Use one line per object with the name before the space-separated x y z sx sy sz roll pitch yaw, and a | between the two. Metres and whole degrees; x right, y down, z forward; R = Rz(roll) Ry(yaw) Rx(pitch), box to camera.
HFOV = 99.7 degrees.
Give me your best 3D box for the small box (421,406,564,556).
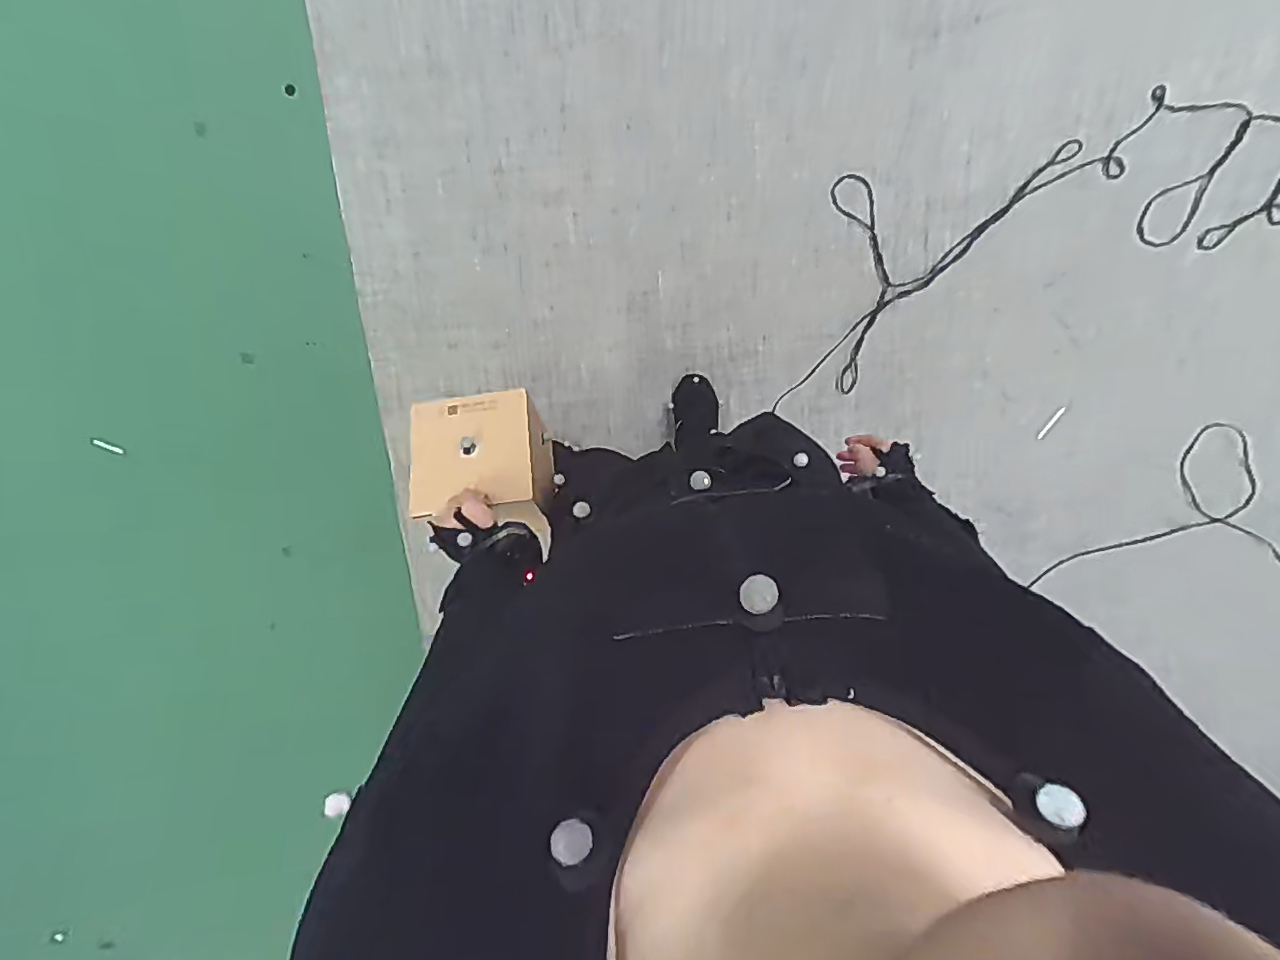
small box | -0.217 0.000 0.809 0.168 0.179 0.176 -10 69 -1
